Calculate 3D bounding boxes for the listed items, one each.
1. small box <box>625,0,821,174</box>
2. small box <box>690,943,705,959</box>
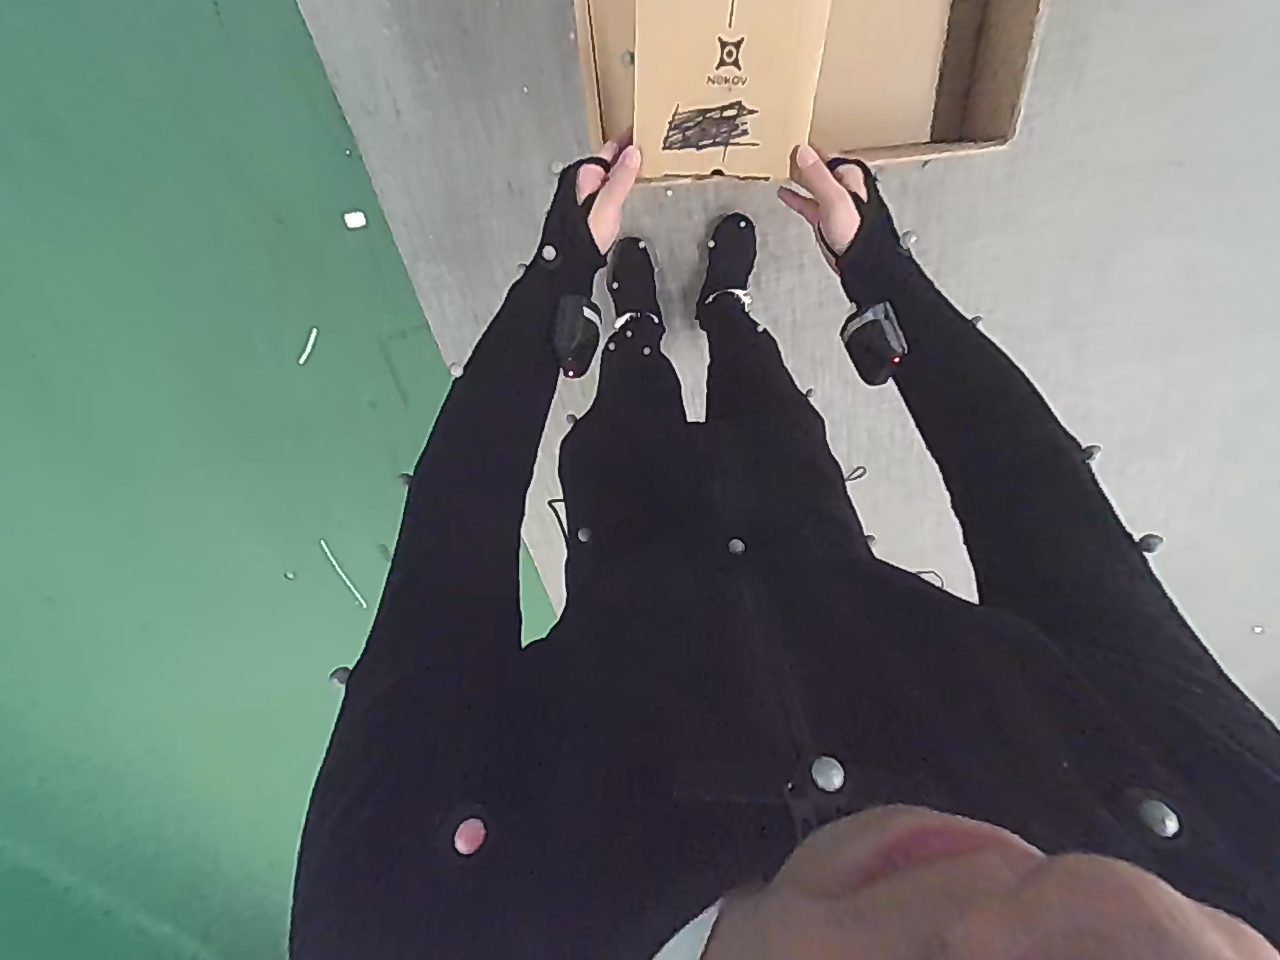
[{"bbox_3d":[0.074,-0.421,0.545,0.168,0.176,0.179,2,125,1],"label":"small box"},{"bbox_3d":[0.151,1.801,1.939,0.168,0.176,0.179,-14,121,5],"label":"small box"}]
